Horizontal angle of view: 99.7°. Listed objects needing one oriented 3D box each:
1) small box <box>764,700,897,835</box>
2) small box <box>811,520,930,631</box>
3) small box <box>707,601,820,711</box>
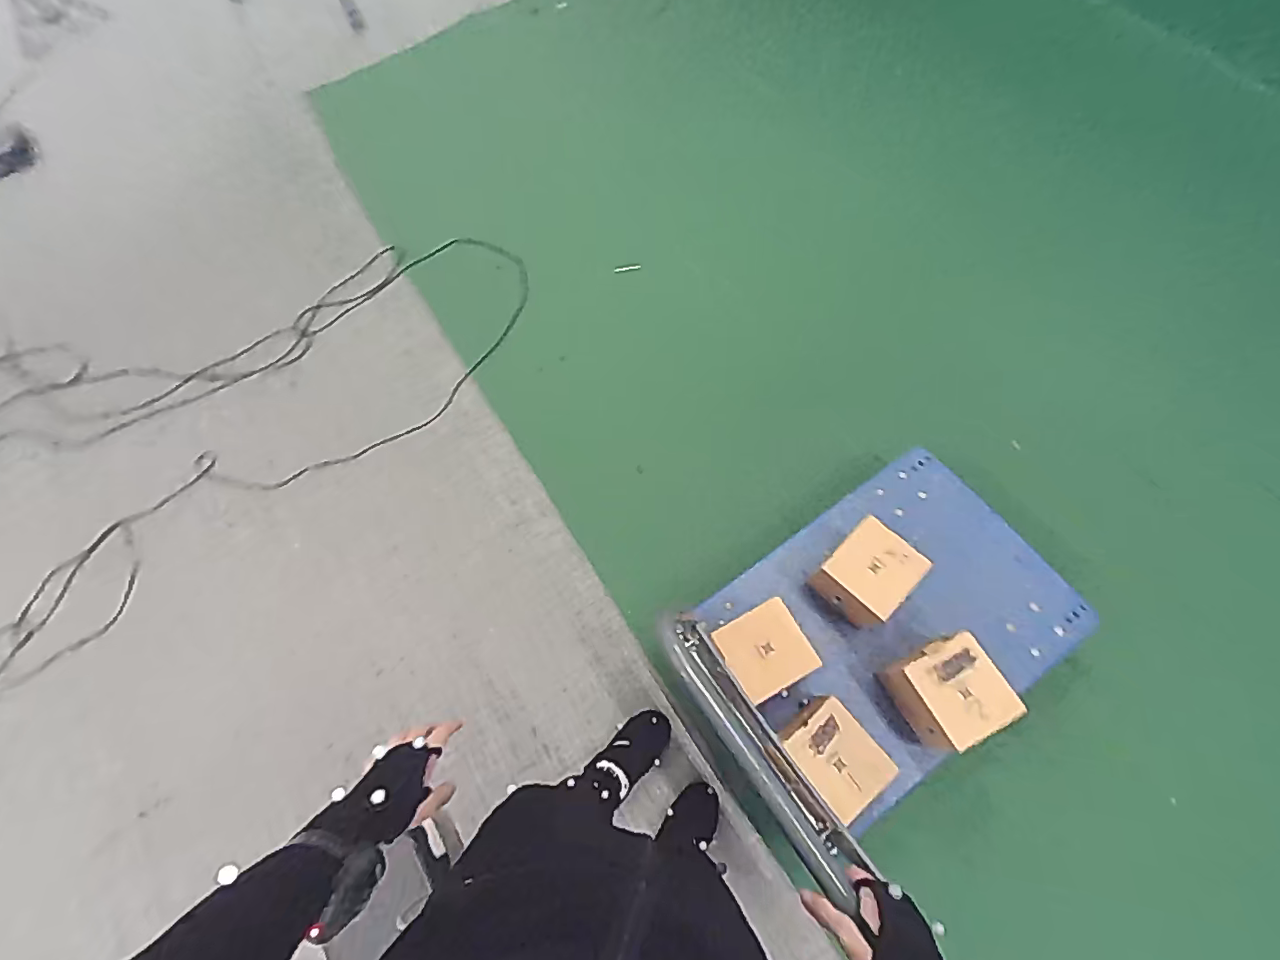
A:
[{"bbox_3d":[0.376,0.576,1.108,0.168,0.176,0.179,-37,71,-10],"label":"small box"},{"bbox_3d":[0.516,0.226,1.242,0.179,0.176,0.168,-42,72,-12],"label":"small box"},{"bbox_3d":[0.262,0.388,1.196,0.179,0.176,0.168,-28,69,-6],"label":"small box"}]
